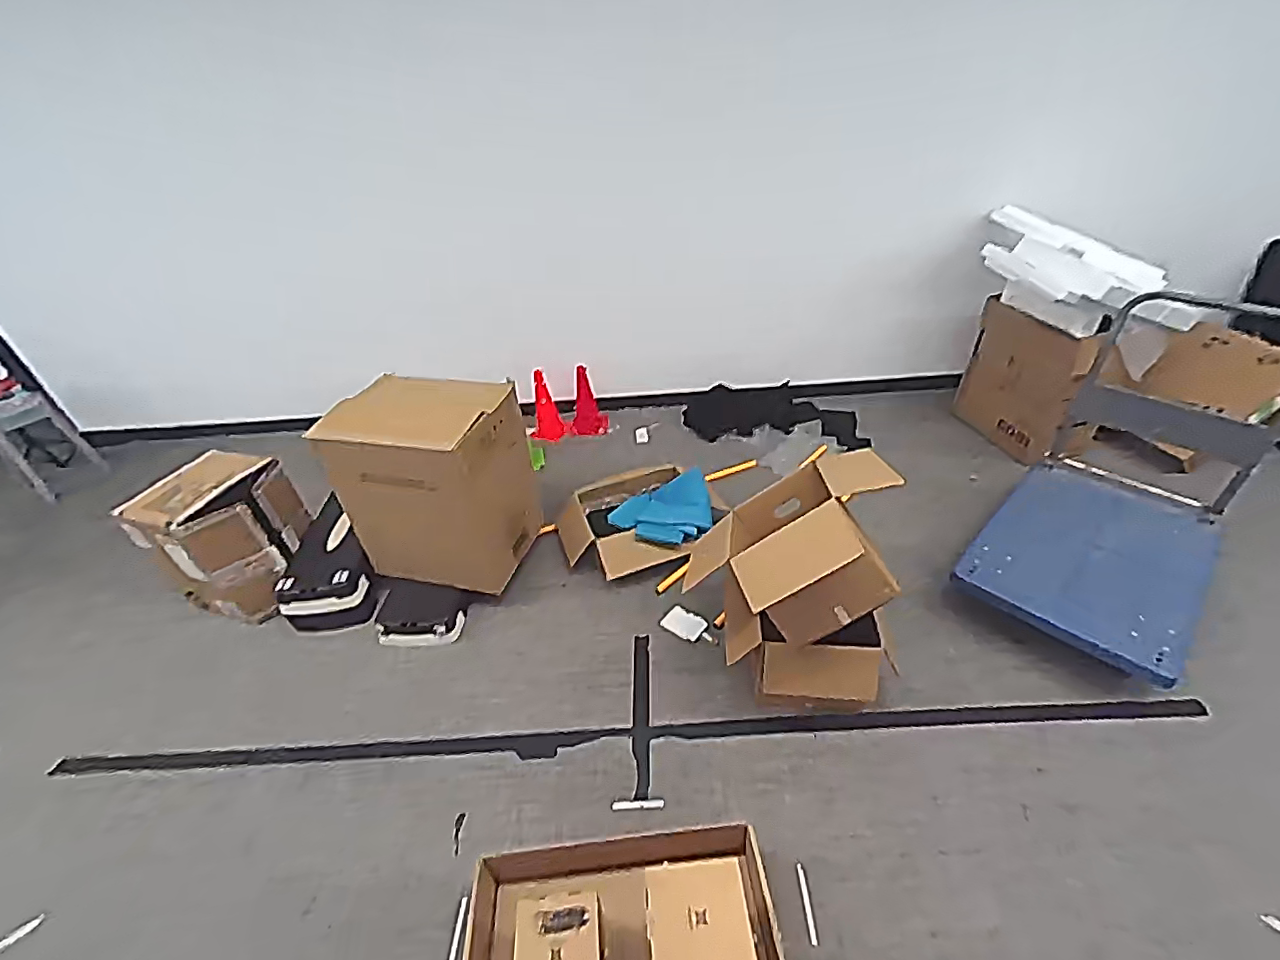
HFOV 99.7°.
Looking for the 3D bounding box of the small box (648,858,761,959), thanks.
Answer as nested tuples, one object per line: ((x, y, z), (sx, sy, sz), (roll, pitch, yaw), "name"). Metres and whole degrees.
((0.112, 0.812, 0.975), (0.179, 0.176, 0.168), (-7, 37, 0), "small box")
